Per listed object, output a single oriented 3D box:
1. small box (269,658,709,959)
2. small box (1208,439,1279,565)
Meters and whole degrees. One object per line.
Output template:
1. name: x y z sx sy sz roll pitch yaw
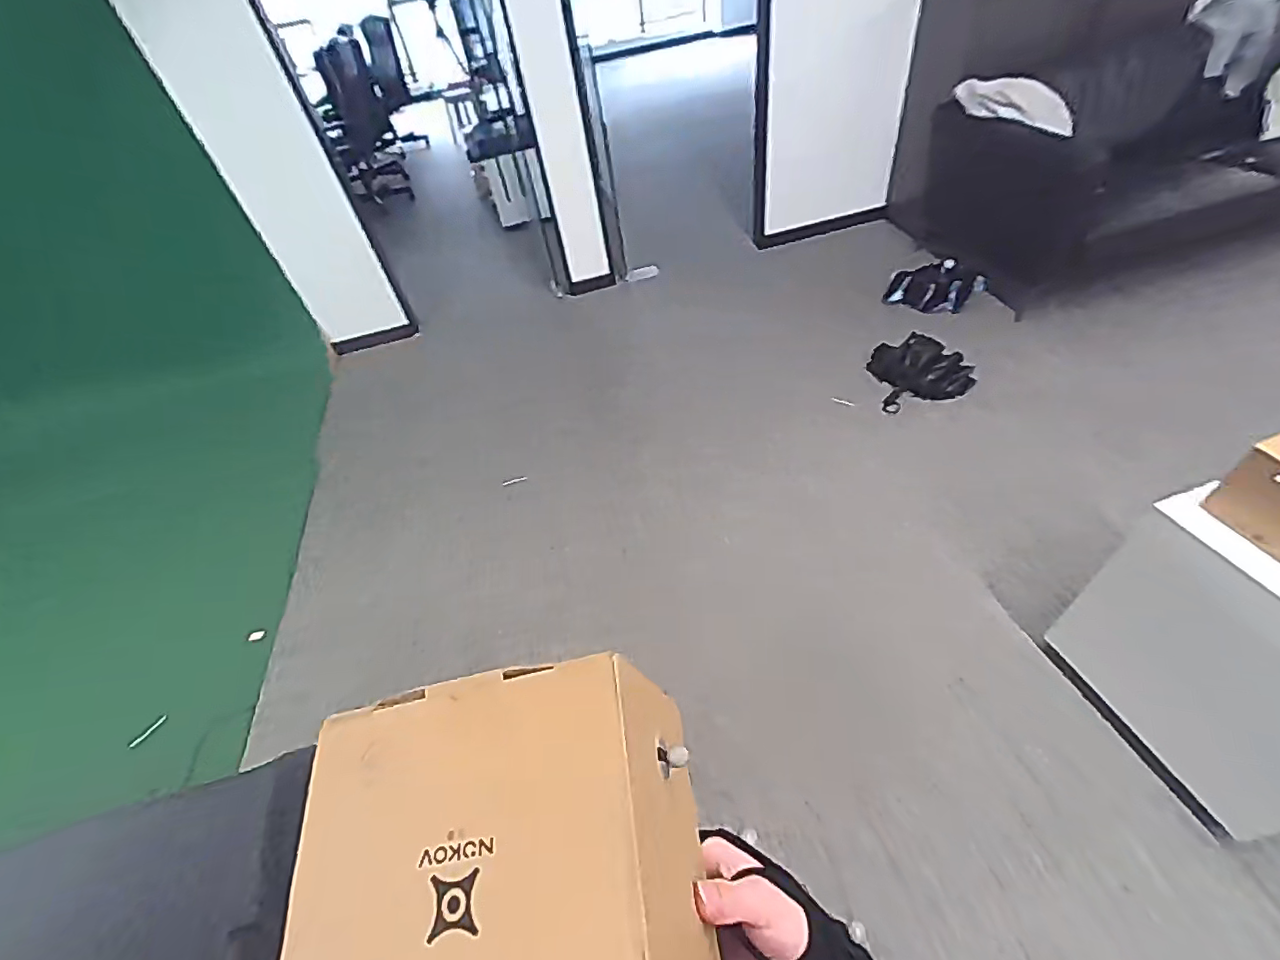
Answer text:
1. small box: -0.063 0.220 0.298 0.168 0.176 0.179 -15 55 9
2. small box: 1.191 0.028 0.955 0.179 0.176 0.168 -17 46 -7
